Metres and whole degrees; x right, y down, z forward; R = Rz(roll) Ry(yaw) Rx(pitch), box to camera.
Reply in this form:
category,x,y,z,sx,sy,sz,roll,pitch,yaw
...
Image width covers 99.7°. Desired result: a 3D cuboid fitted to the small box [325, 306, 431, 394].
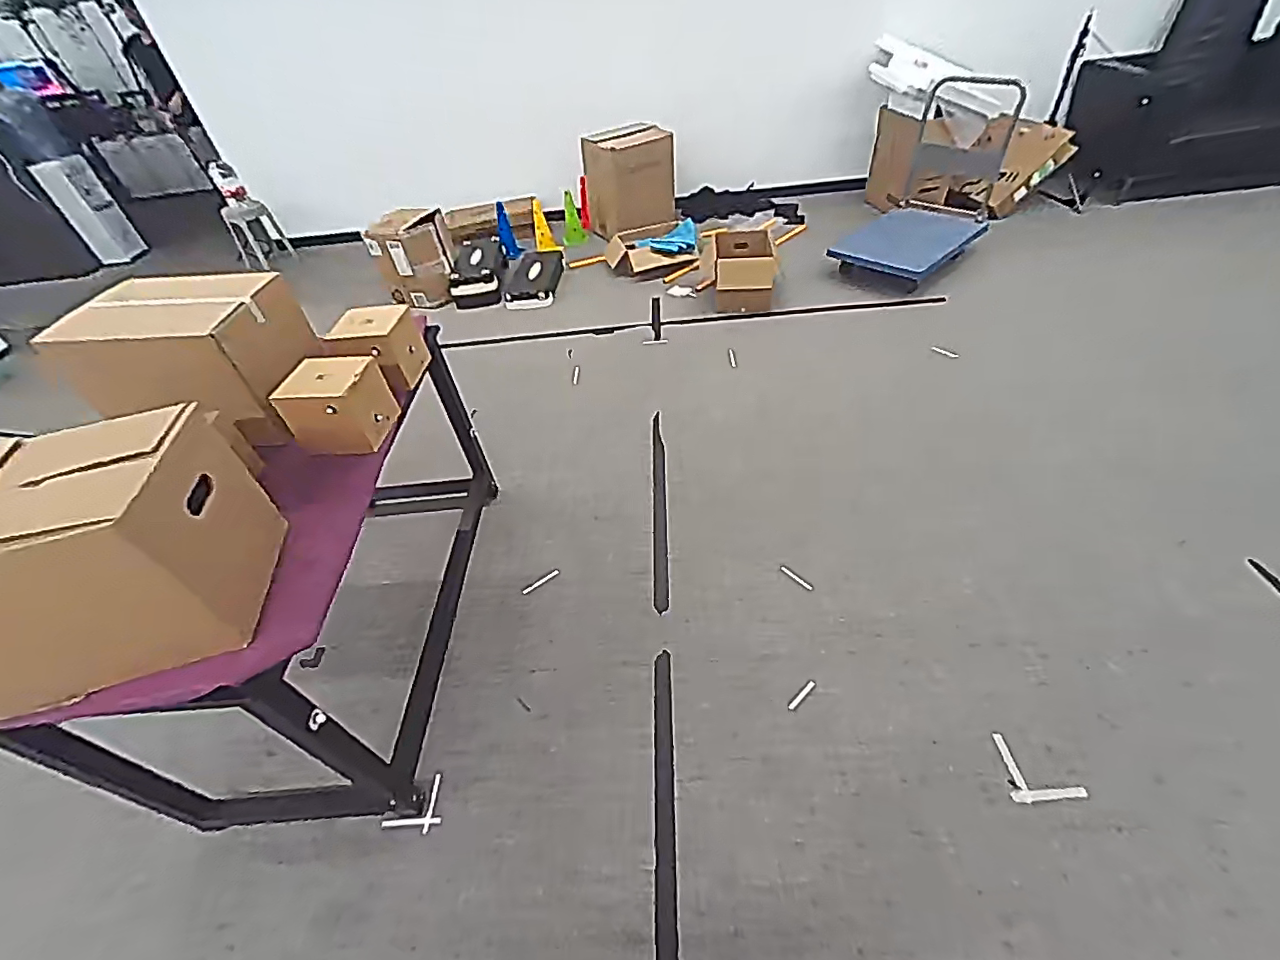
category,x,y,z,sx,sy,sz,roll,pitch,yaw
small box,-0.695,-0.348,1.459,0.179,0.176,0.168,-4,43,6
